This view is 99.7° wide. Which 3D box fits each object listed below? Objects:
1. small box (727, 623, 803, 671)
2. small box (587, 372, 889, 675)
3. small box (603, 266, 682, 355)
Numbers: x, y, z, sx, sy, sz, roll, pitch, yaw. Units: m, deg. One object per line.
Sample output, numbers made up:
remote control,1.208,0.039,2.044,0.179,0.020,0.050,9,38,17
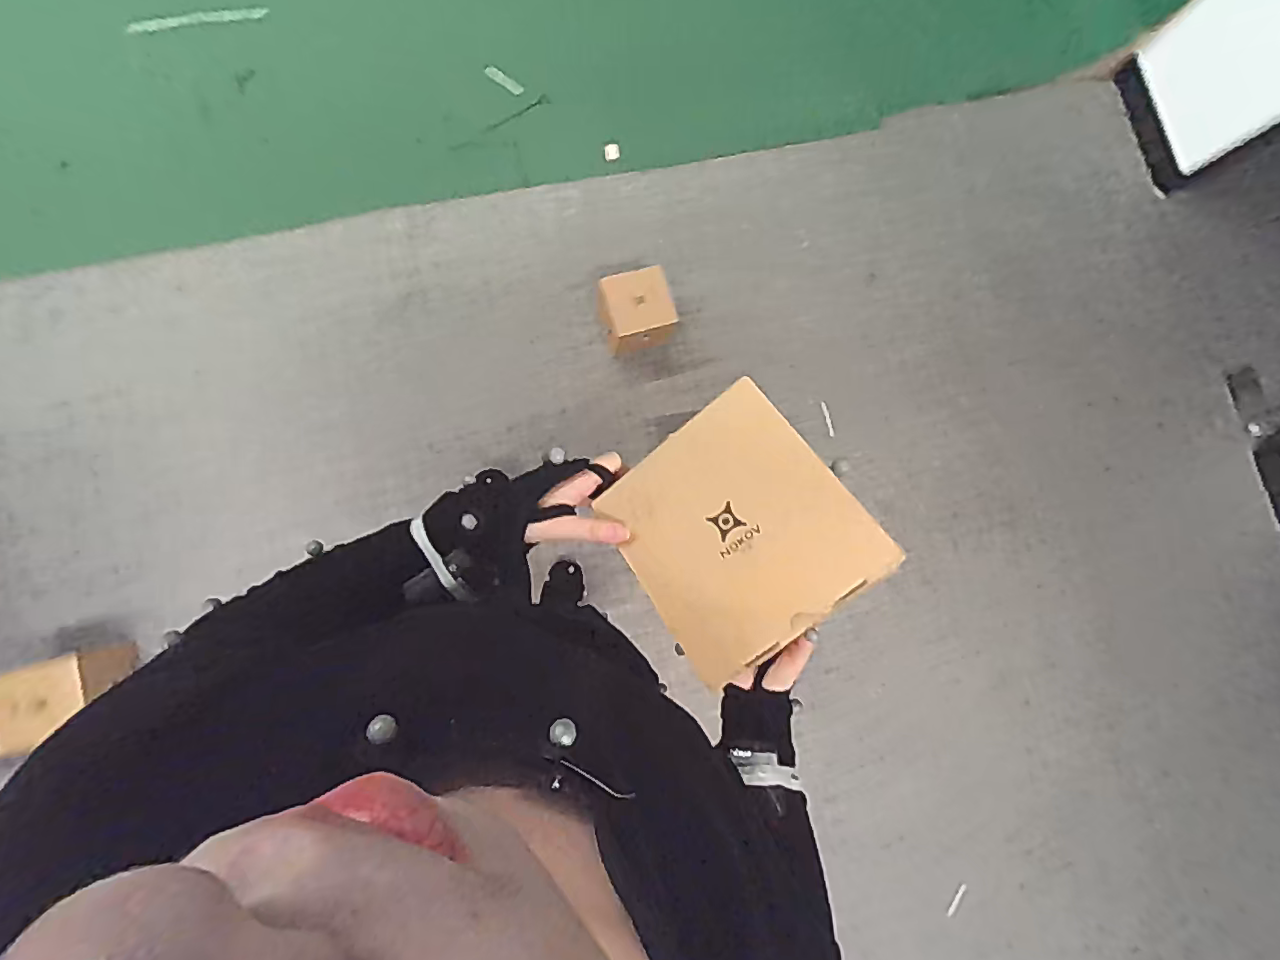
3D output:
small box,0.259,0.338,1.286,0.179,0.176,0.168,-10,86,-9
small box,0.090,0.043,0.478,0.168,0.176,0.179,-41,68,11
small box,-0.001,-0.464,1.505,0.179,0.176,0.168,-15,87,-9
